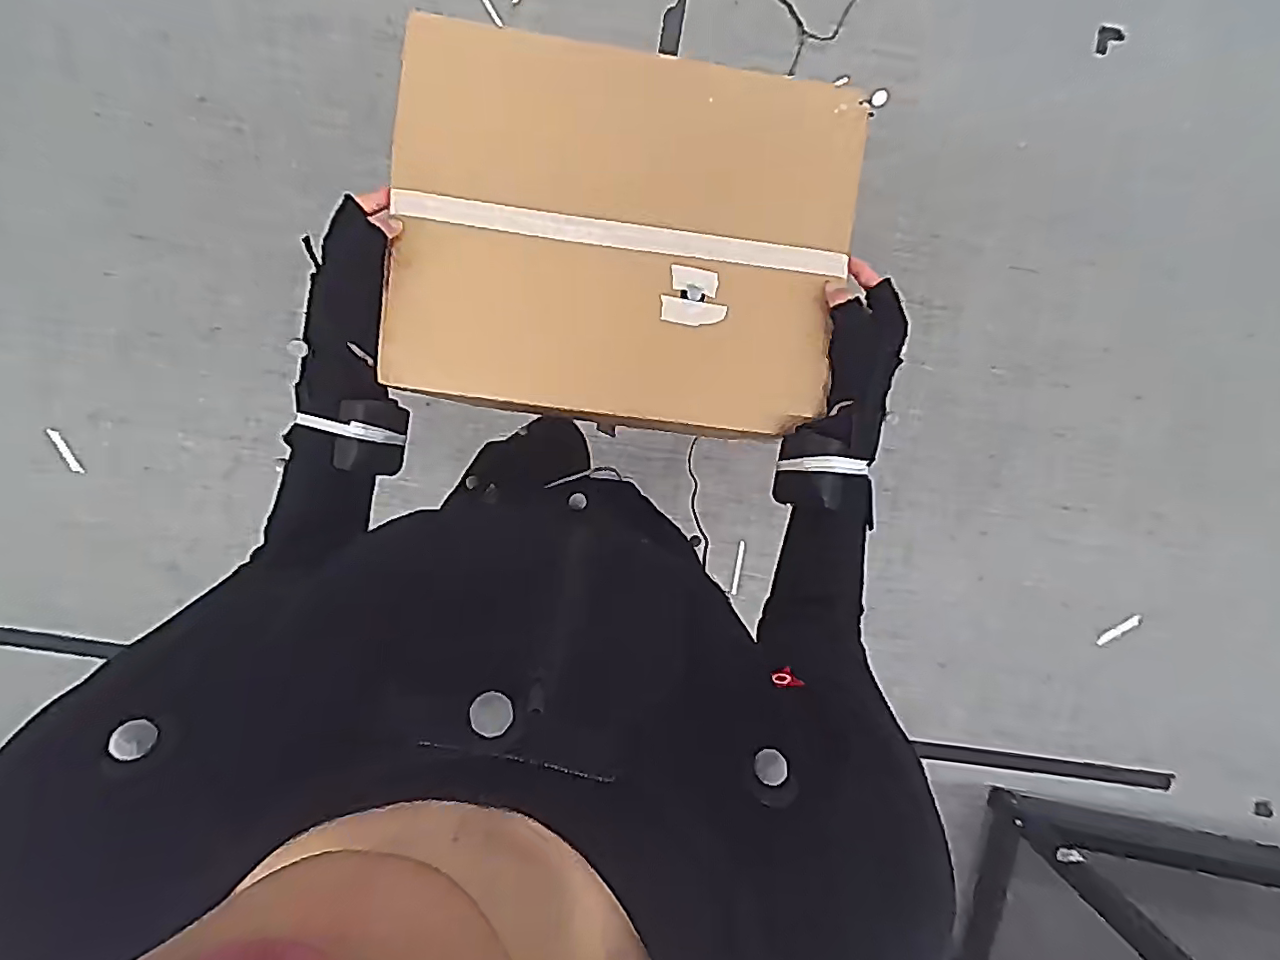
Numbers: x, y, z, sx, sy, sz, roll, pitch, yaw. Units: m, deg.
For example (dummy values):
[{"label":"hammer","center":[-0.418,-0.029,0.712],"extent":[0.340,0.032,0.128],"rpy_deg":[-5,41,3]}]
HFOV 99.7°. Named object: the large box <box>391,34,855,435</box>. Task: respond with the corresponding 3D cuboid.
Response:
[{"label":"large box","center":[-0.026,-0.227,0.638],"extent":[0.408,0.320,0.320],"rpy_deg":[7,95,-5]}]
